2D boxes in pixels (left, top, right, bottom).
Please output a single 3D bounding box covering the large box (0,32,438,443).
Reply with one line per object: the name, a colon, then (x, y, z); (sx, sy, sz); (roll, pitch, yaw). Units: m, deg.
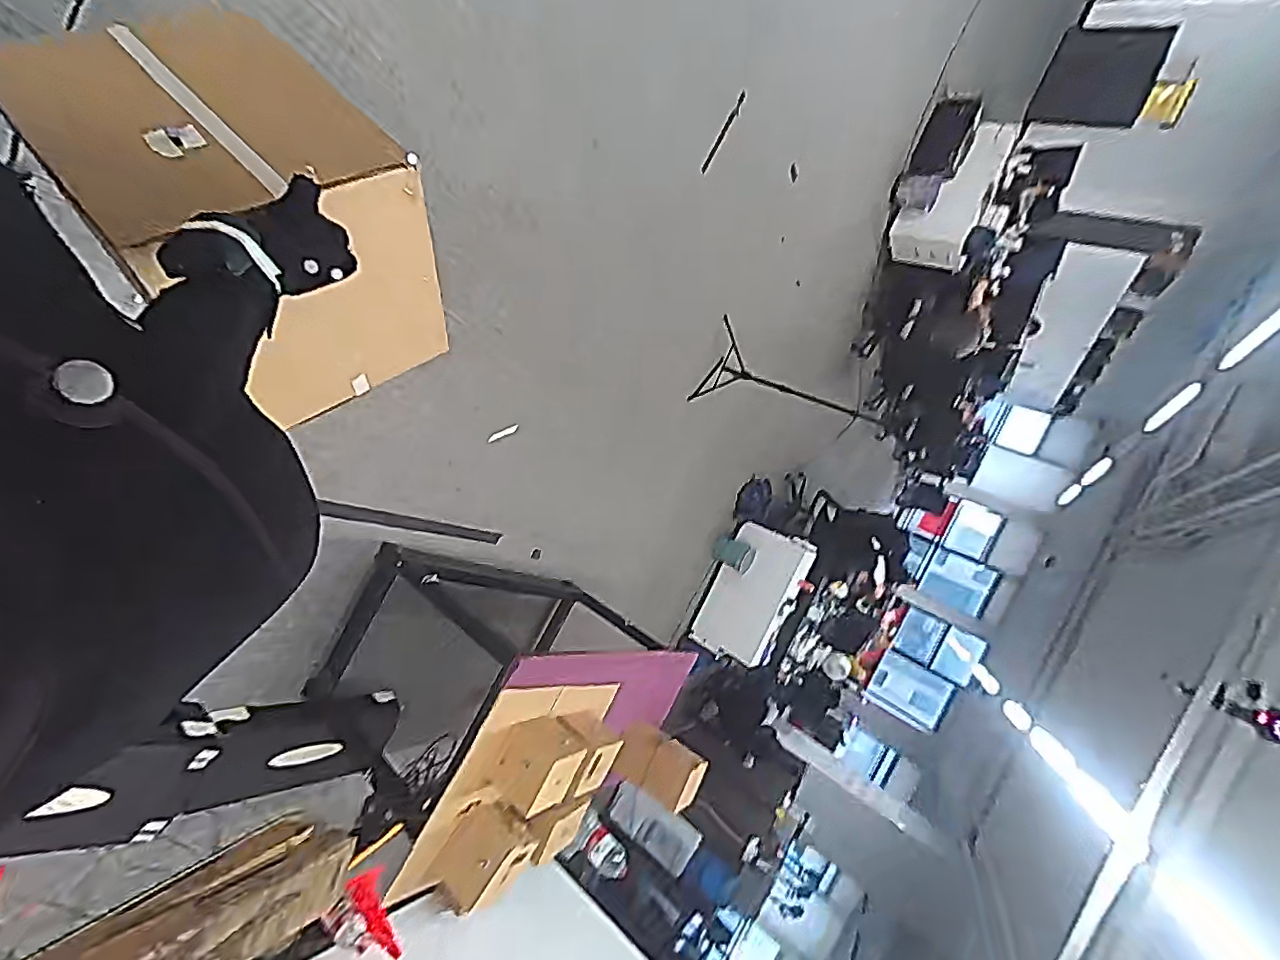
large box: (-0.546, -0.334, 0.754); (0.320, 0.408, 0.320); (-38, 164, -28)
